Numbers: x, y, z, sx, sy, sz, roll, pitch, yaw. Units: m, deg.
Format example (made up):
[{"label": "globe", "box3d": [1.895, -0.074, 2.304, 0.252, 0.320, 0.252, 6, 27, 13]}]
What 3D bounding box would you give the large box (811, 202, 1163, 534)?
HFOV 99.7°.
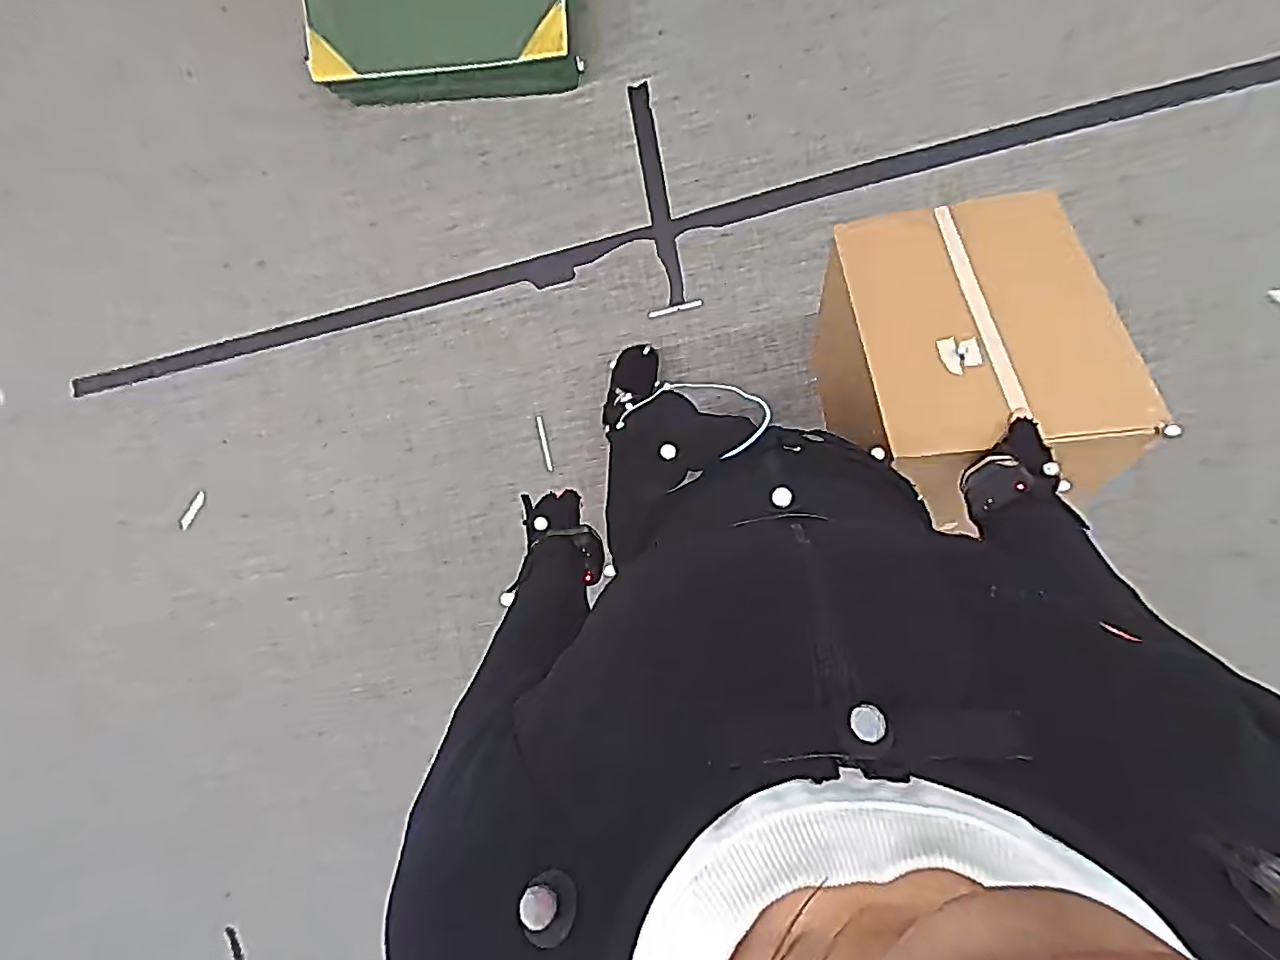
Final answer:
[{"label": "large box", "box3d": [0.484, -0.158, 0.874, 0.320, 0.320, 0.408, -7, 66, 9]}]
